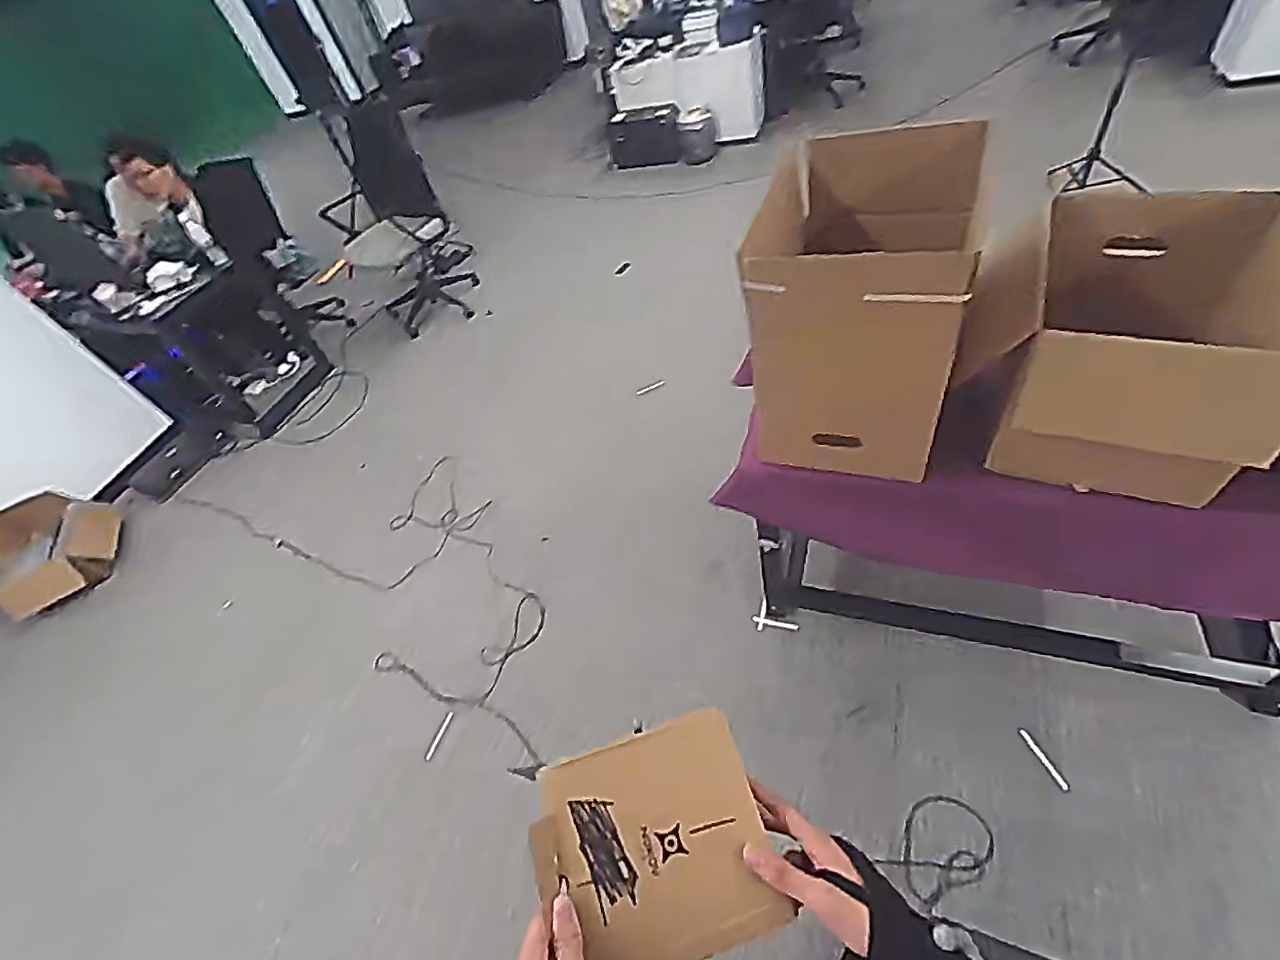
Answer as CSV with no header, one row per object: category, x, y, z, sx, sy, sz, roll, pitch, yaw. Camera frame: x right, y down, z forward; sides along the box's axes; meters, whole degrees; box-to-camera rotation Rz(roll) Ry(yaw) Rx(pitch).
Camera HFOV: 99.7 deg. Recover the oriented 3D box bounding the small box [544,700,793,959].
small box,0.020,0.328,0.528,0.179,0.176,0.168,-16,68,-8
